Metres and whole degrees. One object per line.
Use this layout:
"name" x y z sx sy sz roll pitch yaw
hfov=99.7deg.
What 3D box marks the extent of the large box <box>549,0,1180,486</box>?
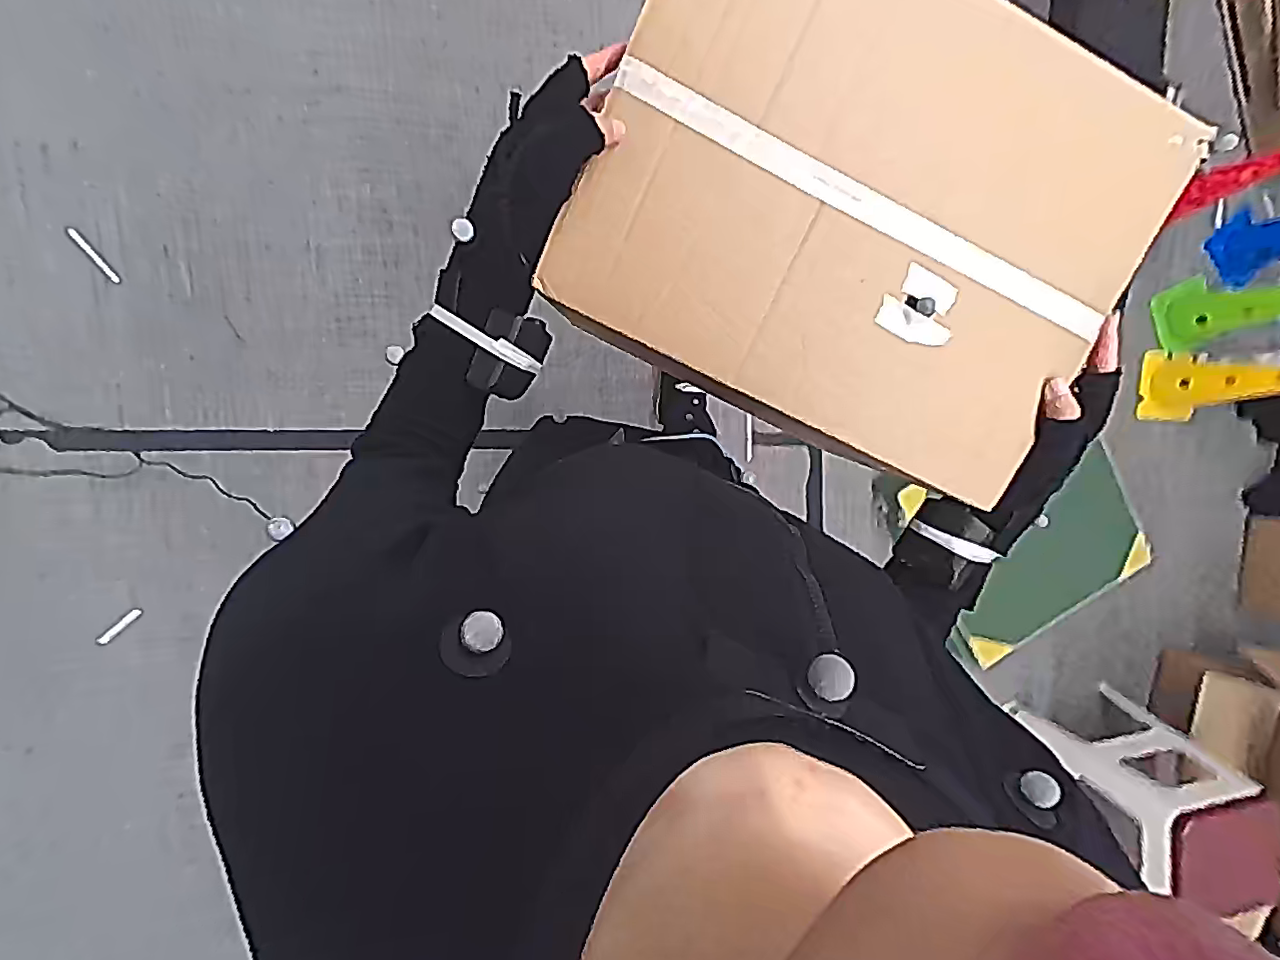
"large box" 0.162 -0.236 0.555 0.408 0.320 0.320 25 100 -7
